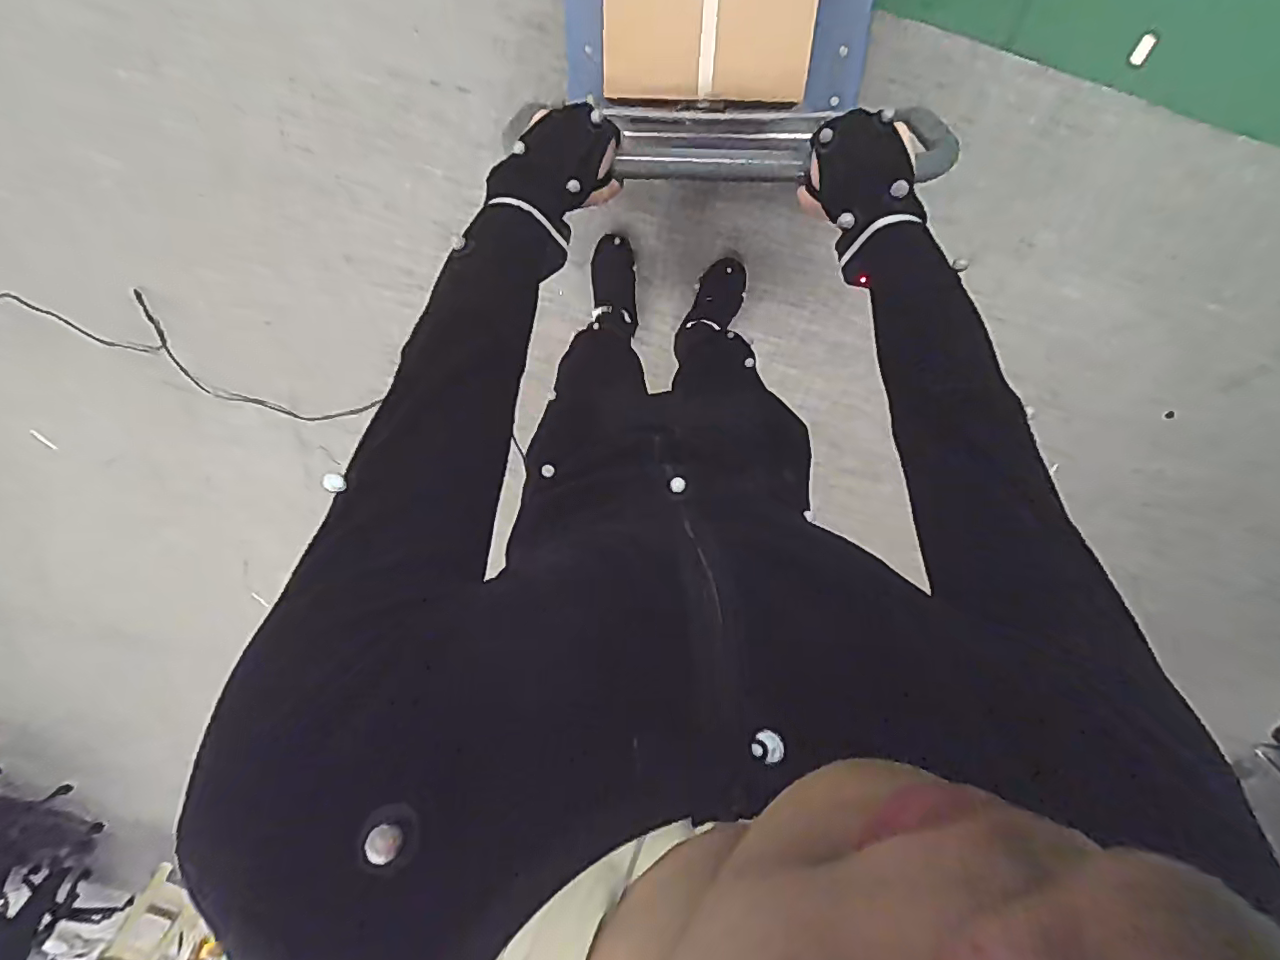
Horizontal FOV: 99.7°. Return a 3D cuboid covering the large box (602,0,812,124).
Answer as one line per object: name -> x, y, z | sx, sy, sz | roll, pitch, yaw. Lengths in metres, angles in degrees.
large box -> 0.113, -0.845, 0.896 | 0.320, 0.320, 0.408 | 3, 118, 3
